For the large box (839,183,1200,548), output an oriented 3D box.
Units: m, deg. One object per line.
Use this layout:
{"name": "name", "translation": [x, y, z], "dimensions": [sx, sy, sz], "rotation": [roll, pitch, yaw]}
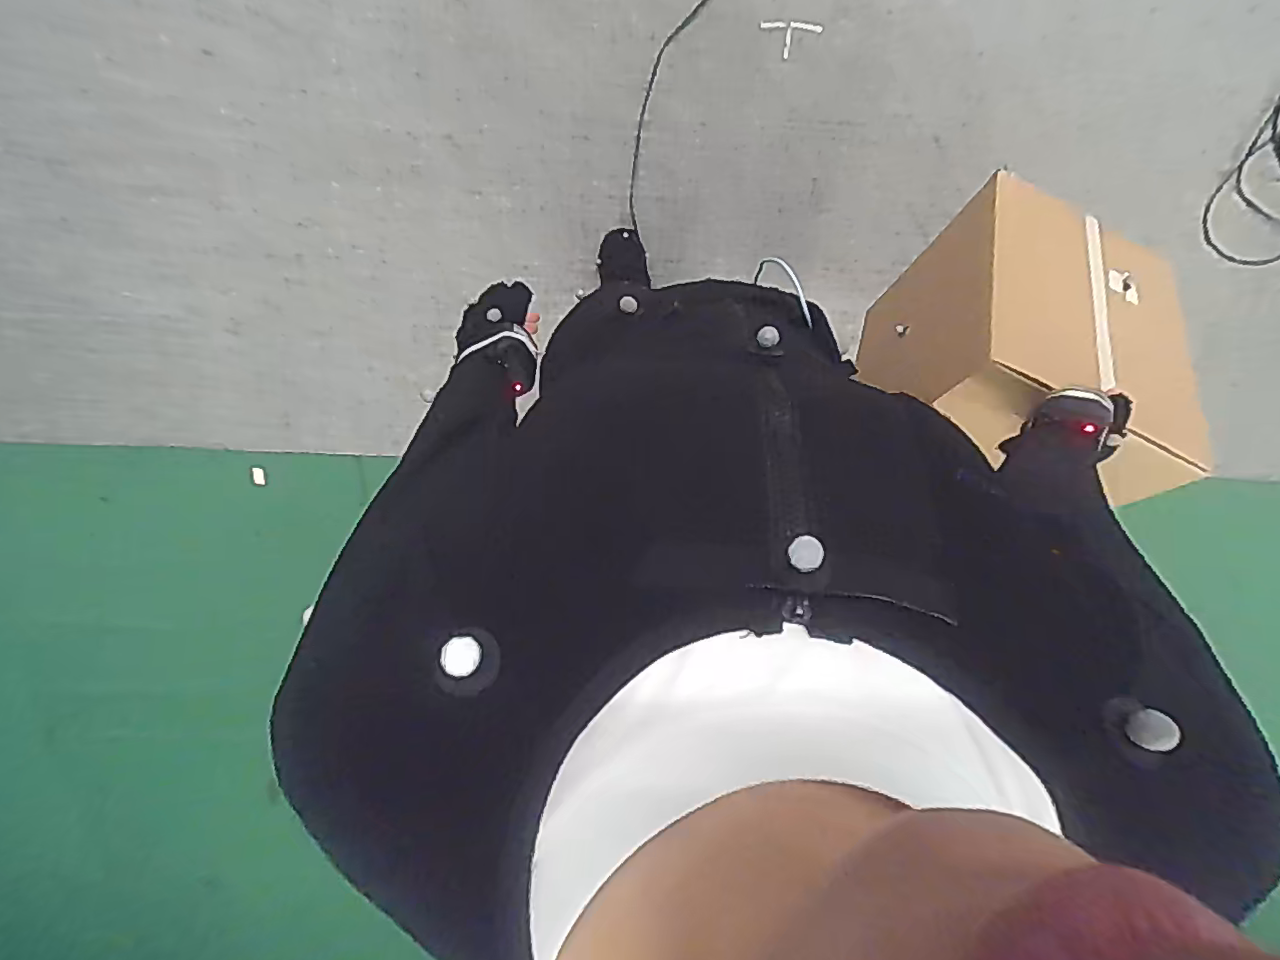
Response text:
{"name": "large box", "translation": [0.557, -0.163, 0.858], "dimensions": [0.320, 0.408, 0.320], "rotation": [25, 151, -6]}
